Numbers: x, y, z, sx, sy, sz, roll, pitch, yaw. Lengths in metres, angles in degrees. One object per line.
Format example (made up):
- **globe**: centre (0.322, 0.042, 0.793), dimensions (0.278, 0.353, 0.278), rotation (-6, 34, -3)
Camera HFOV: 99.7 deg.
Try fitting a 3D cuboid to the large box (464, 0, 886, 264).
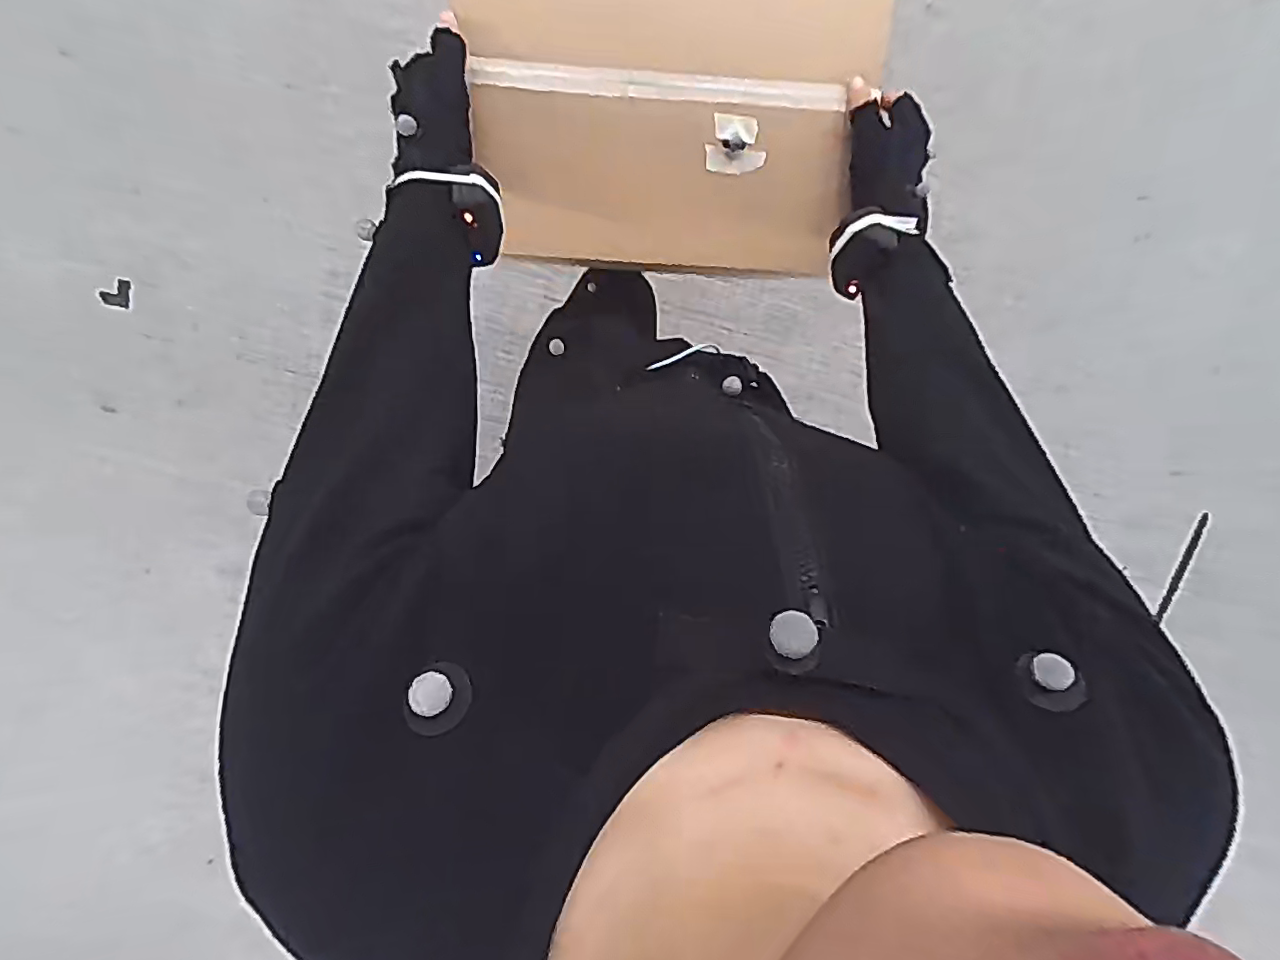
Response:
- **large box**: centre (0.024, -0.442, 0.666), dimensions (0.408, 0.320, 0.320), rotation (2, 112, -4)
